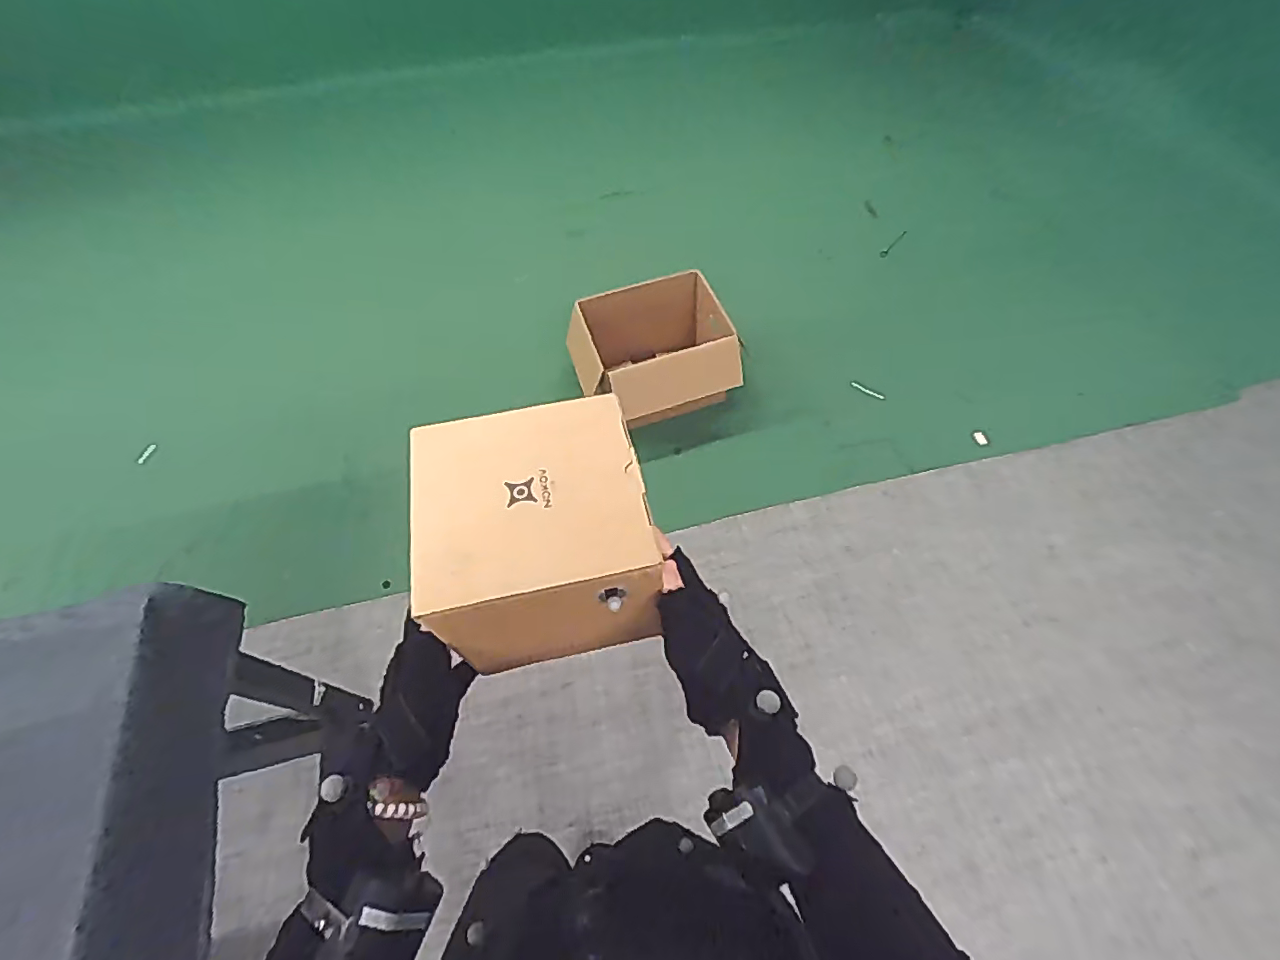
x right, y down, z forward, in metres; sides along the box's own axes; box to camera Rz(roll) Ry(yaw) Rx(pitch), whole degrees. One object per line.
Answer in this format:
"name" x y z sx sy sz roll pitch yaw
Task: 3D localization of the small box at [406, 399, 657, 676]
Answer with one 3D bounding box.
"small box" -0.086 0.058 0.477 0.179 0.176 0.168 -11 57 -7
